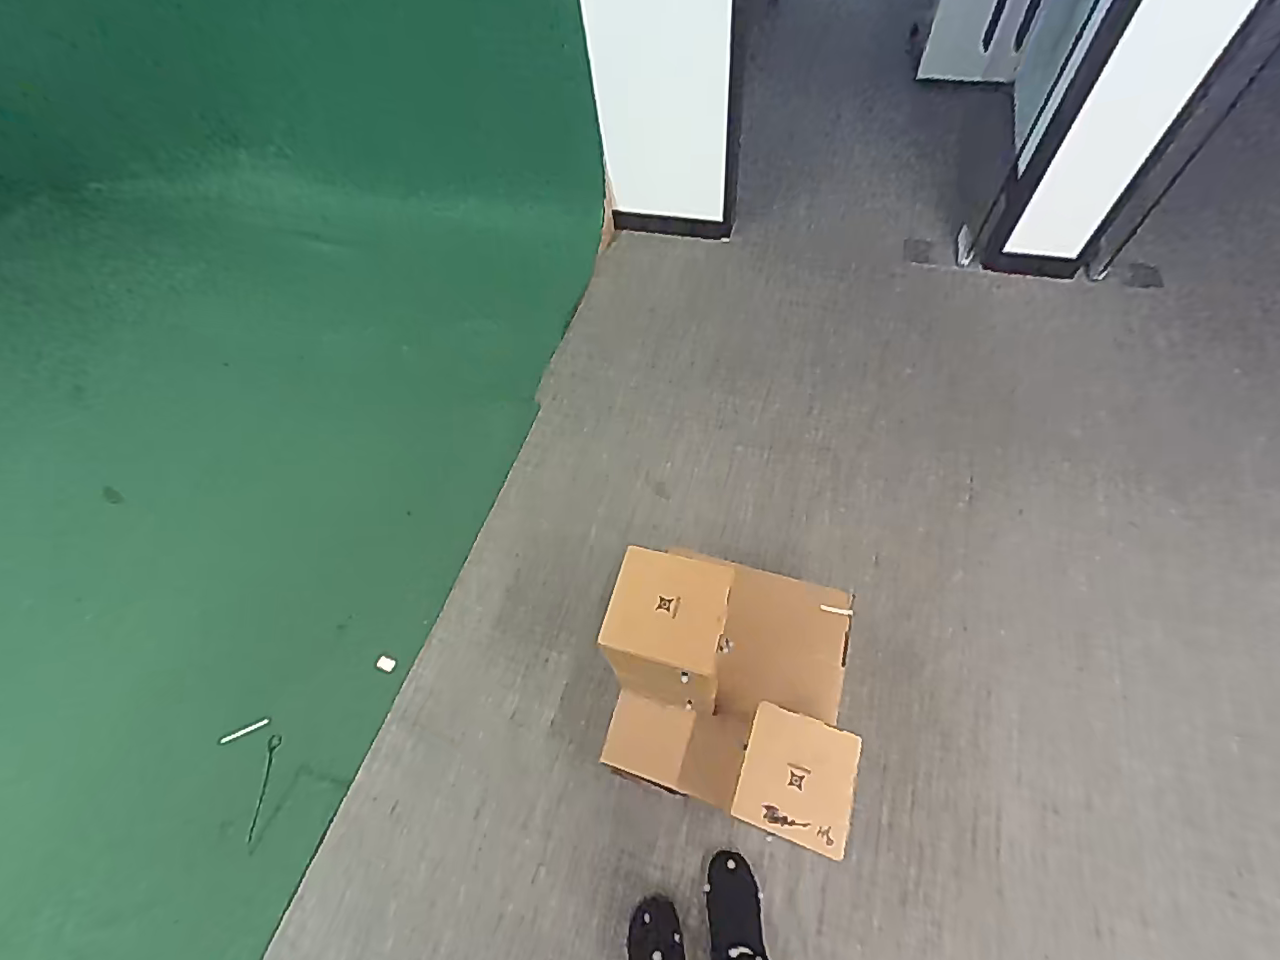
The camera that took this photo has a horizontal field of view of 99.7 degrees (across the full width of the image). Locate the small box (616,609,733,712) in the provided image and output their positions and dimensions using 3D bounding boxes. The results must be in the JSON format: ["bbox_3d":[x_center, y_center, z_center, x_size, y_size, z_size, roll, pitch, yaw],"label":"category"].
[{"bbox_3d":[0.070,0.323,1.014,0.179,0.176,0.168,10,59,13],"label":"small box"}]

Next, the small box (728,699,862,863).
[{"bbox_3d":[0.247,0.491,0.890,0.168,0.176,0.179,16,62,15],"label":"small box"}]

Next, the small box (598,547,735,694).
[{"bbox_3d":[0.049,0.233,0.879,0.179,0.176,0.168,12,60,13],"label":"small box"}]
